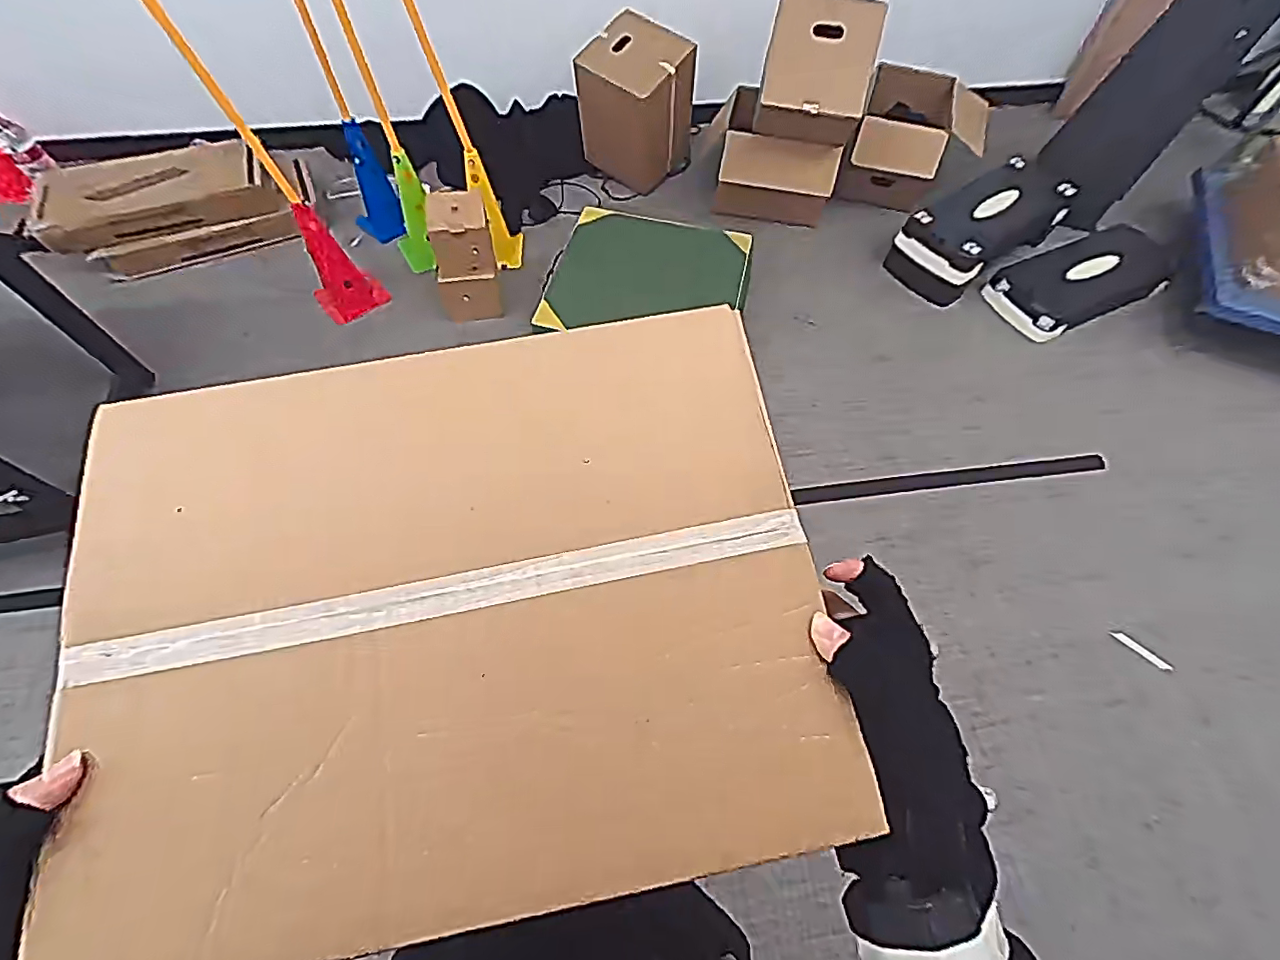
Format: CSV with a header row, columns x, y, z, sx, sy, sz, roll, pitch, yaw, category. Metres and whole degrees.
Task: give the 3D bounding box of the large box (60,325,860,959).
x,y,z,sx,sy,sz,roll,pitch,yaw,category
-0.106,0.117,0.451,0.408,0.320,0.320,-10,71,-4,large box
